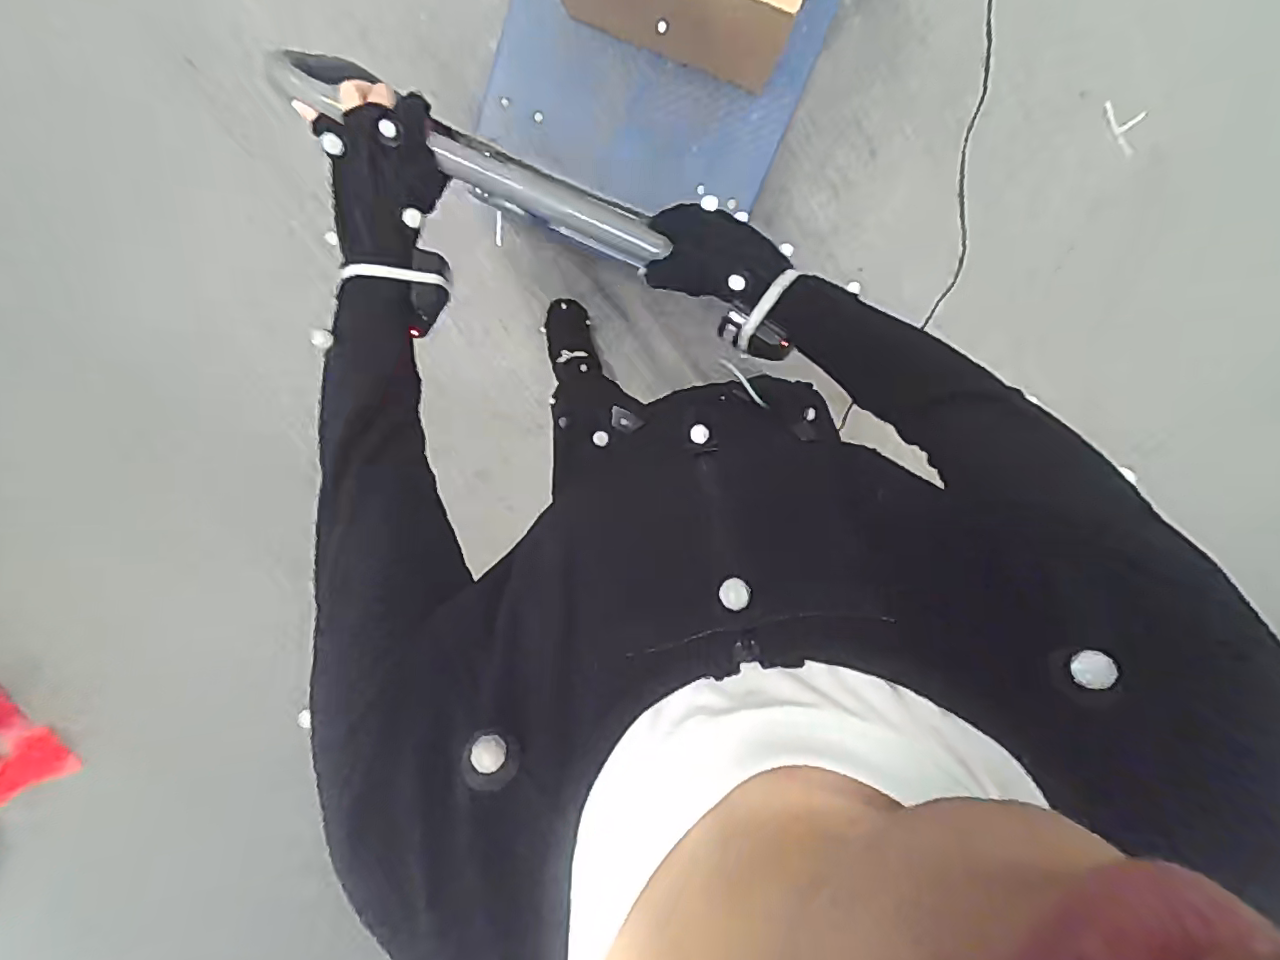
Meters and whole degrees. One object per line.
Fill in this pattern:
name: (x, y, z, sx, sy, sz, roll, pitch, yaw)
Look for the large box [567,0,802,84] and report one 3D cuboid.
large box: (0.094, -0.912, 0.852, 0.408, 0.320, 0.320, 20, 107, -2)
